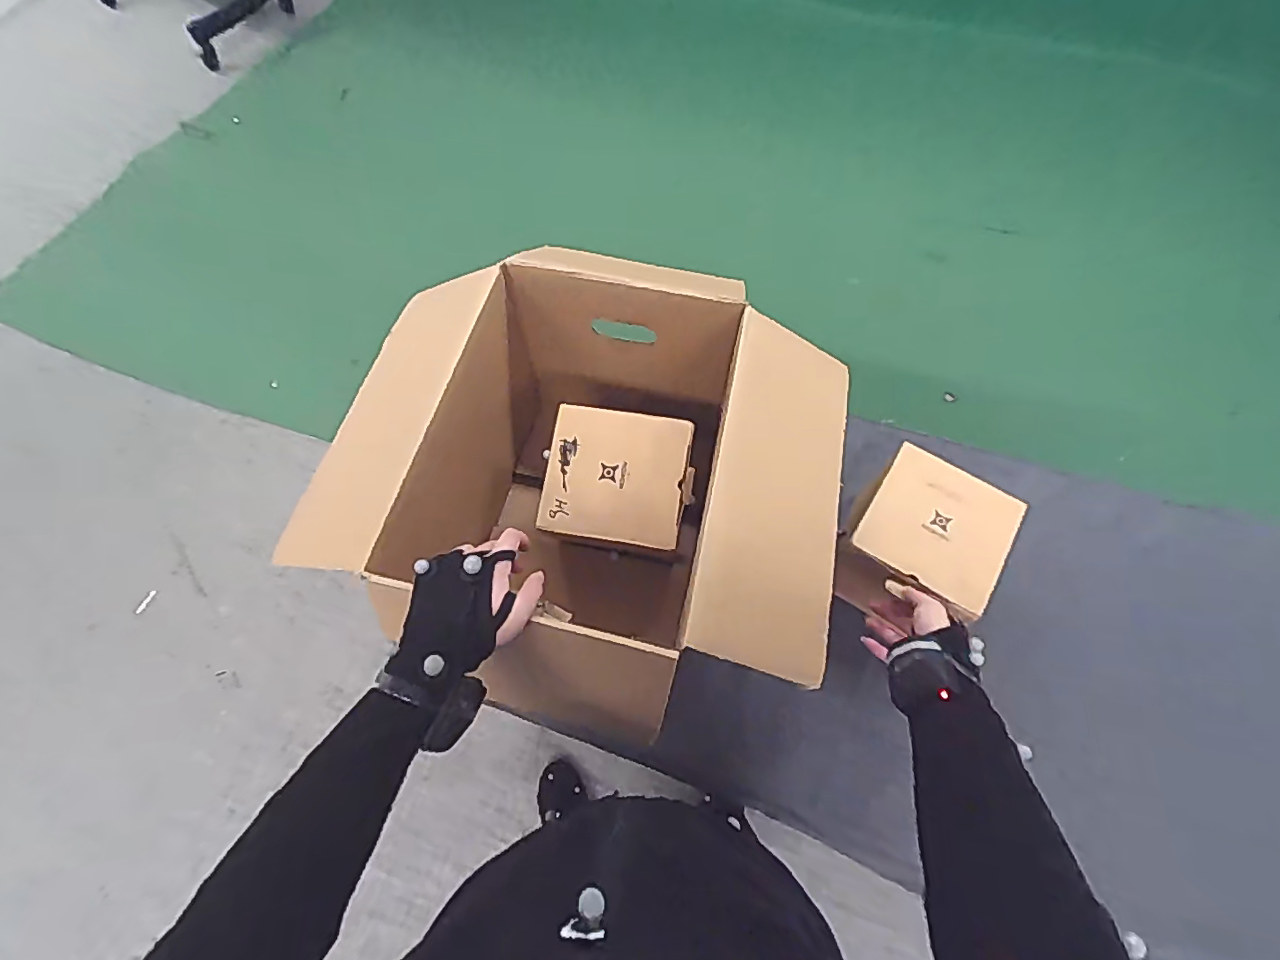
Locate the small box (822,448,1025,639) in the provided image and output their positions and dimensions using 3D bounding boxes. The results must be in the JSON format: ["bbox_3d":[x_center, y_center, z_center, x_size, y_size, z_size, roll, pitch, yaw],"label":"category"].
[{"bbox_3d":[0.375,0.096,0.746,0.168,0.176,0.179,32,68,13],"label":"small box"}]
